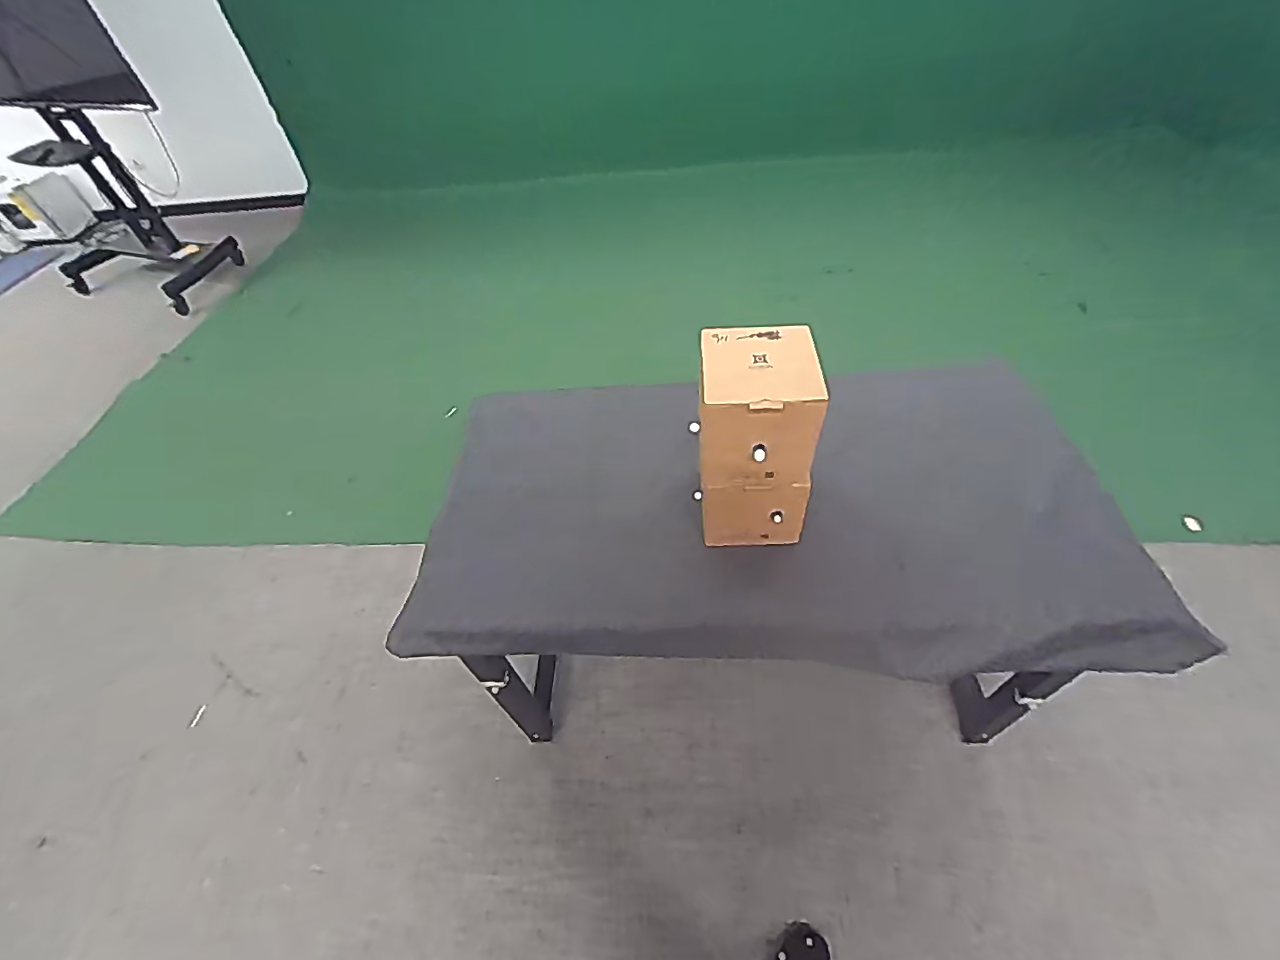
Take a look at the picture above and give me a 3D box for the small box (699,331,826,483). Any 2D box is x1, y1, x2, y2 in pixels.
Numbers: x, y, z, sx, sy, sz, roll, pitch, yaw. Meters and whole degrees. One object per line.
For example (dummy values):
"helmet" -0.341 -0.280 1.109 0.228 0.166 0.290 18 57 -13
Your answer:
"small box" 0.177 -0.108 0.836 0.168 0.176 0.179 0 51 4

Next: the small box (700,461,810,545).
"small box" 0.193 0.002 0.957 0.168 0.176 0.179 -1 48 3
